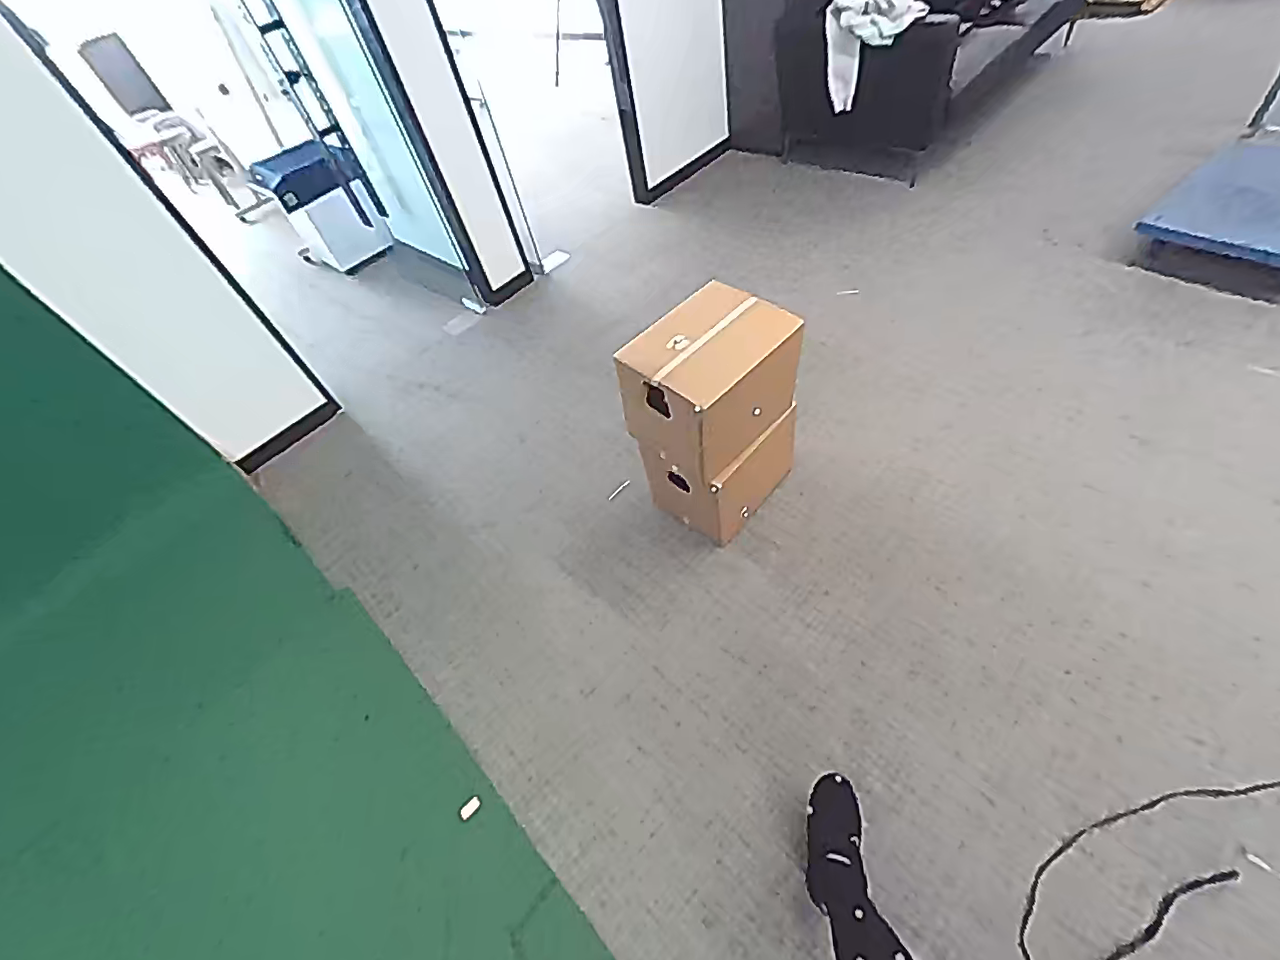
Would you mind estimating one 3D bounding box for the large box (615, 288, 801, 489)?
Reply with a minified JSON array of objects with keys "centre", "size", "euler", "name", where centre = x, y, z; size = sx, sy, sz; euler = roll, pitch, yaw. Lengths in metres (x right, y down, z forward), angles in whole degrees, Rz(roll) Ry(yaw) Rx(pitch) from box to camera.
[{"centre":[0.194,-0.257,1.513],"size":[0.320,0.320,0.408],"euler":[36,67,30],"name":"large box"}]
